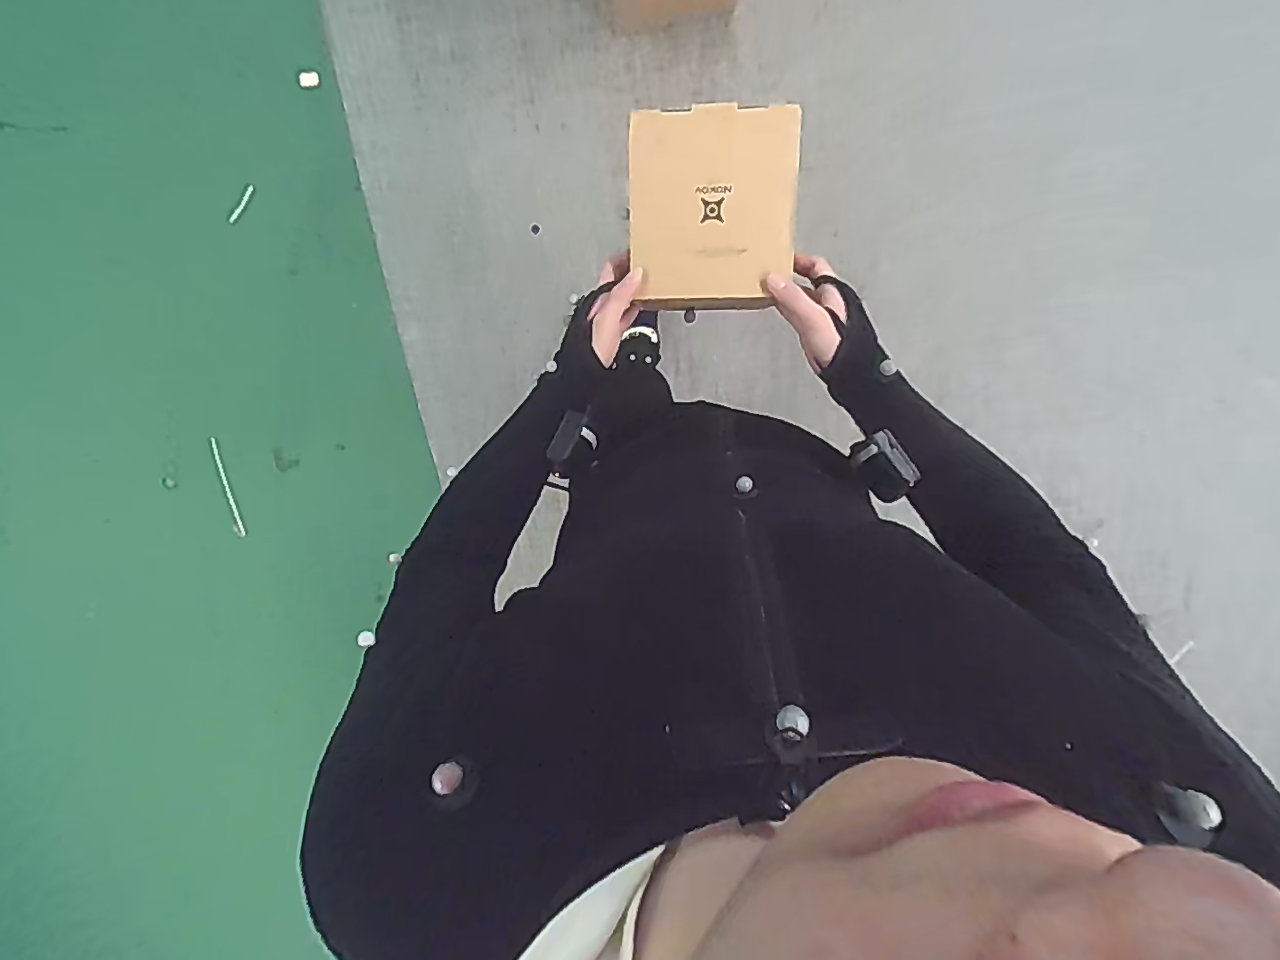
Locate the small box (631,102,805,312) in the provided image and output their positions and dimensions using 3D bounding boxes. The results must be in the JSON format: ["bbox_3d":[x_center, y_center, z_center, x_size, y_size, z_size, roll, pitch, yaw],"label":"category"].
[{"bbox_3d":[0.078,-0.290,0.609,0.168,0.176,0.179,2,103,4],"label":"small box"}]
